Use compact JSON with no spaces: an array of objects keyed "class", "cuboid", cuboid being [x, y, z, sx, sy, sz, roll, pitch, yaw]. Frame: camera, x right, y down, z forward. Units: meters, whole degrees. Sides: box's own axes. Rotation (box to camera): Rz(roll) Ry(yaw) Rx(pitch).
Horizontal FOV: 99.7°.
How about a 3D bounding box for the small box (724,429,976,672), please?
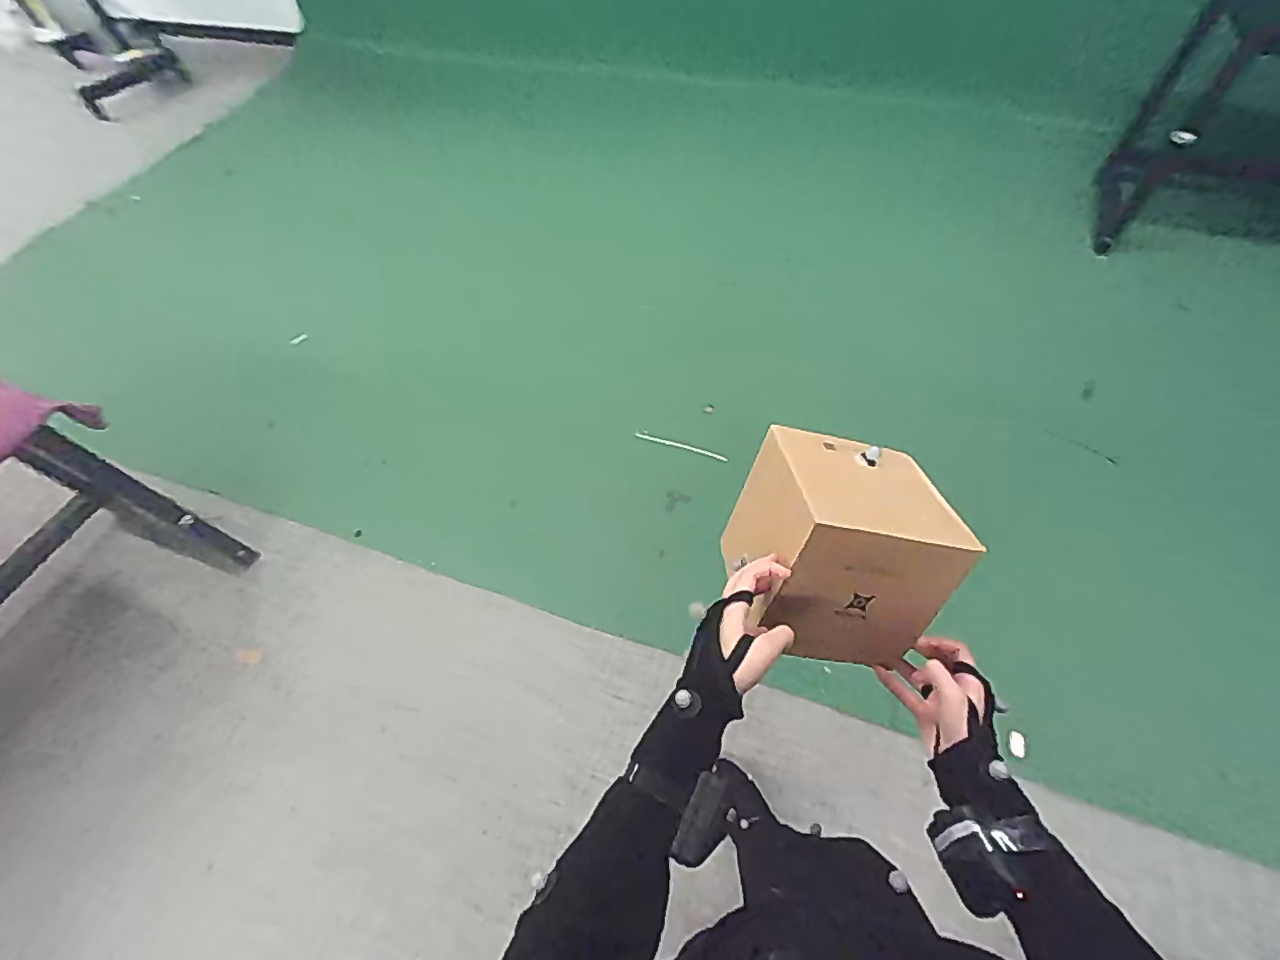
[{"class":"small box","cuboid":[0.196,0.072,0.571,0.168,0.179,0.176,9,34,-9]}]
